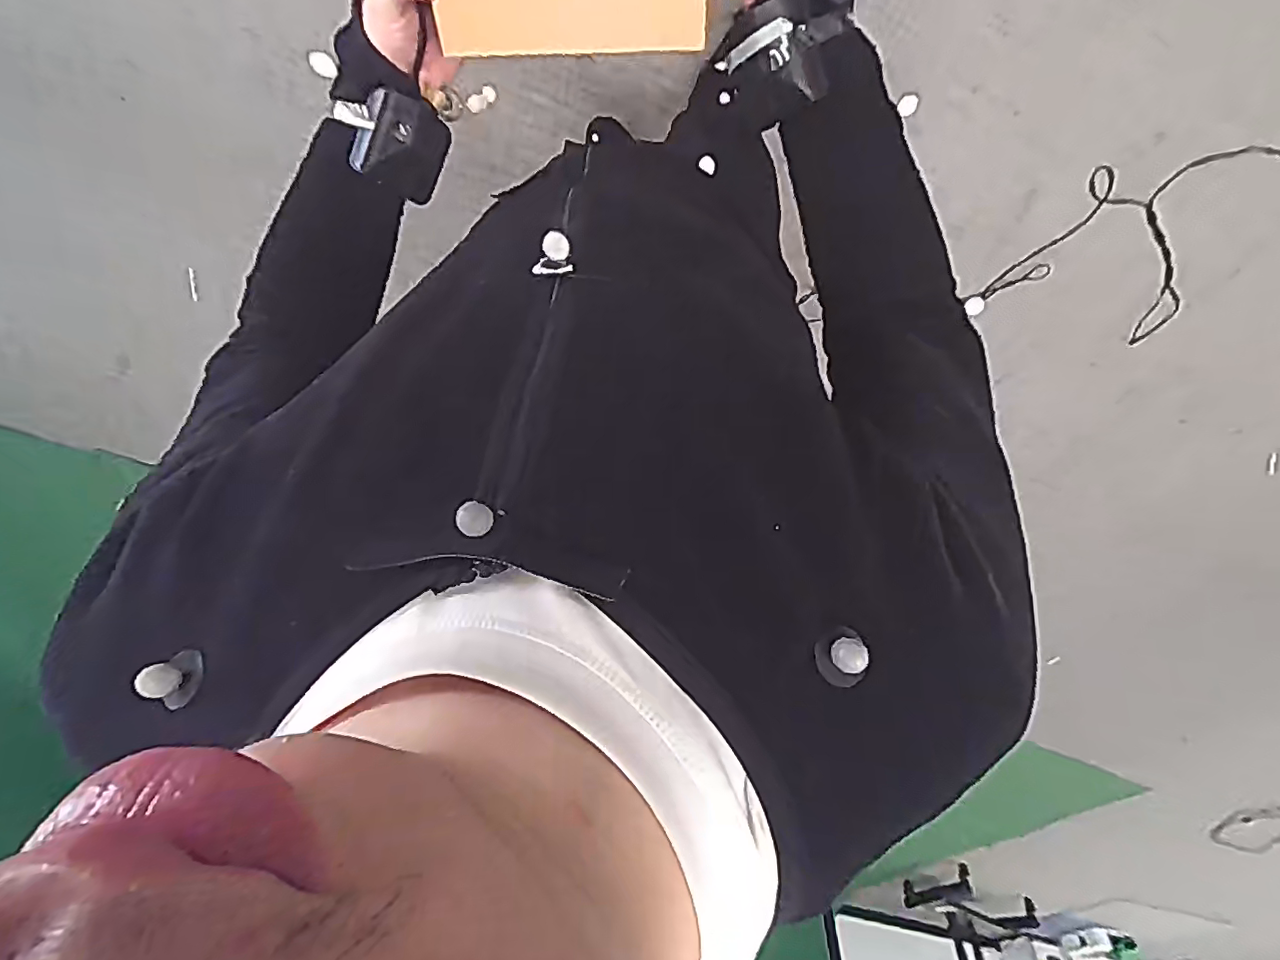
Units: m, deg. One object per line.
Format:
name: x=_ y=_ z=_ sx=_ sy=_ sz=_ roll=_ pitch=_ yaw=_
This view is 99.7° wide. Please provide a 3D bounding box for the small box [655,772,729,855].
small box: x=0.159 y=1.040 z=1.691 sx=0.168 sy=0.176 sz=0.179 roll=23 pitch=129 yaw=-13
